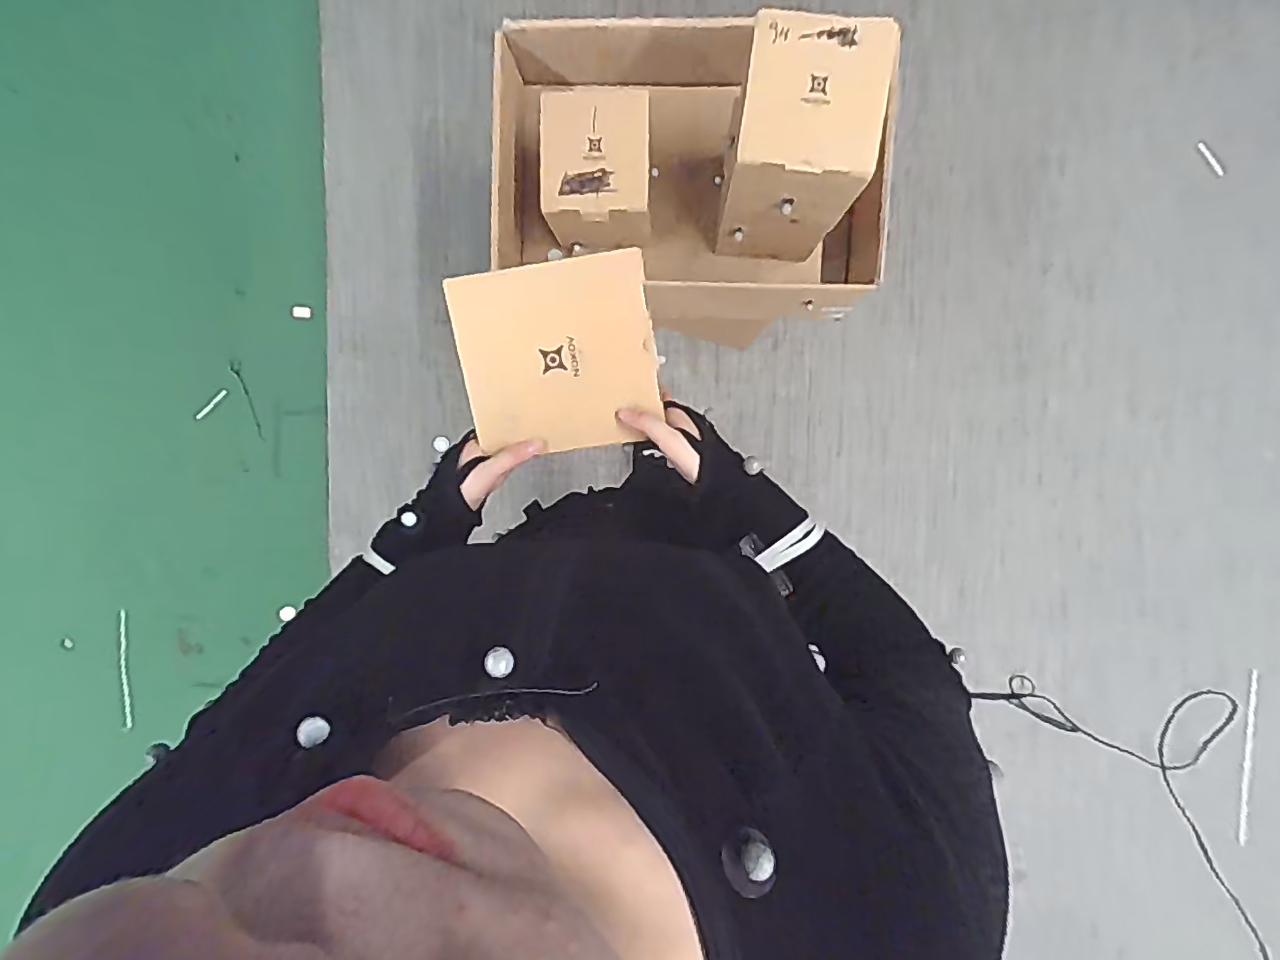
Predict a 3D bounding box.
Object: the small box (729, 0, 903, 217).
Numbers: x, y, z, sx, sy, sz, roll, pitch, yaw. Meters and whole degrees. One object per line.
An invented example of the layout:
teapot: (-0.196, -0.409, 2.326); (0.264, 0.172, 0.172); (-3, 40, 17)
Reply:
small box: (0.215, -0.471, 0.712); (0.168, 0.176, 0.179); (9, 96, 3)

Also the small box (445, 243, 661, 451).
small box: (-0.074, -0.130, 0.563); (0.179, 0.176, 0.168); (-8, 101, 2)
